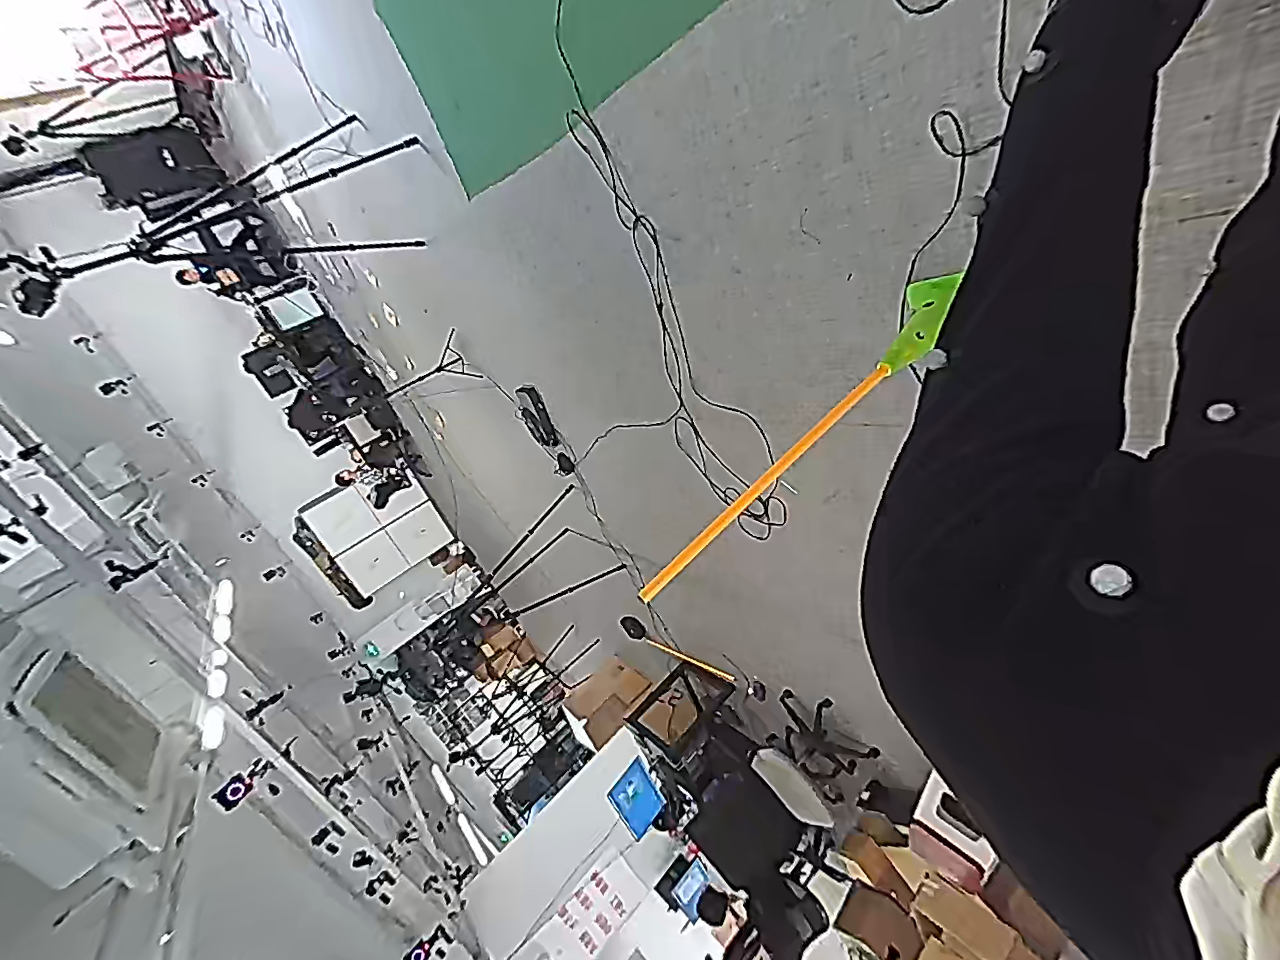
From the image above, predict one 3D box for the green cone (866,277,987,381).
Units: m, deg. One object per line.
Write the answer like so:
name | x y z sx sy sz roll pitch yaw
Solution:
green cone | 0.718 -0.363 1.429 0.202 0.368 0.200 8 129 57
